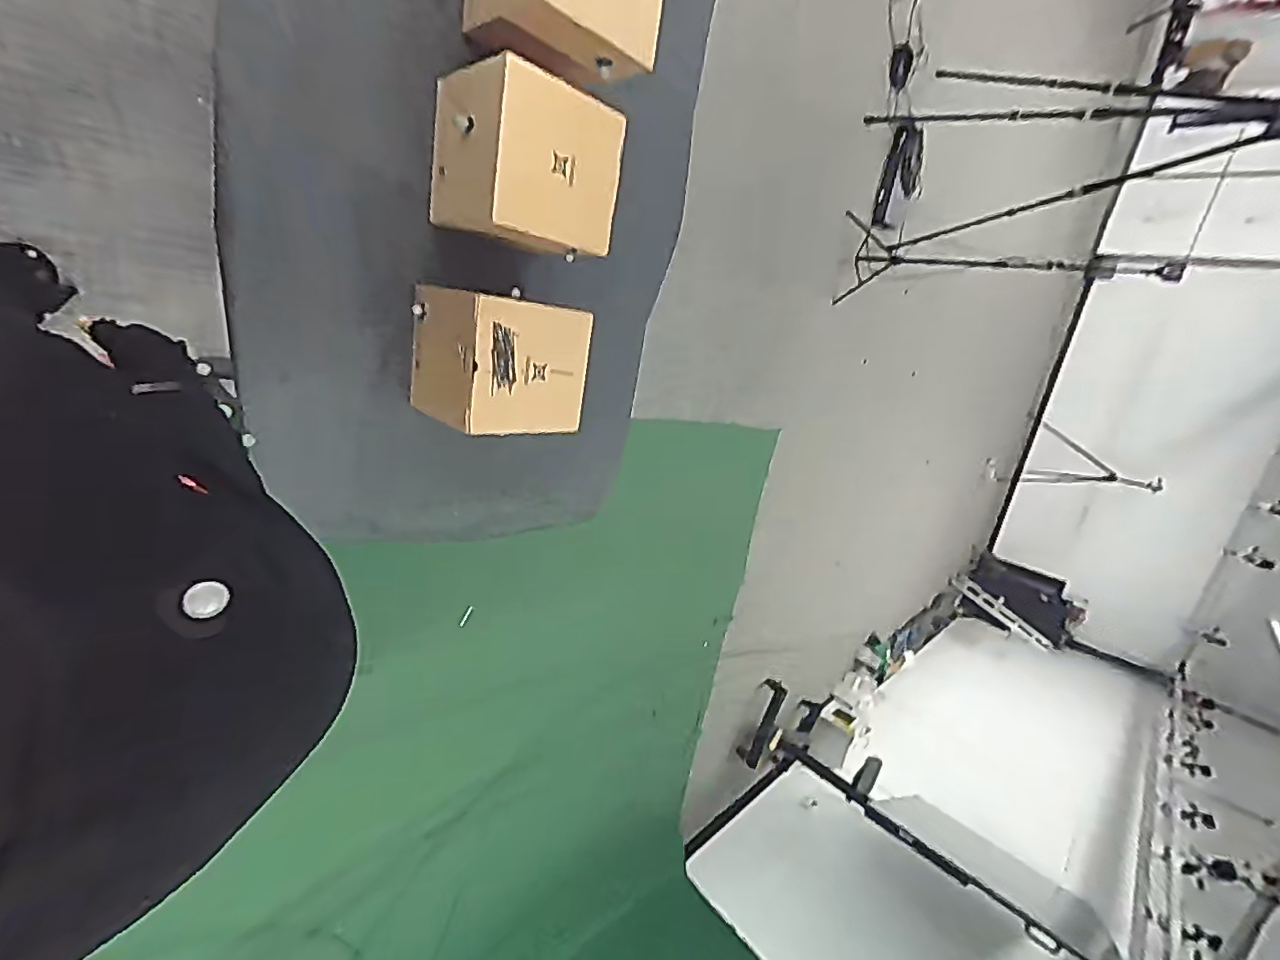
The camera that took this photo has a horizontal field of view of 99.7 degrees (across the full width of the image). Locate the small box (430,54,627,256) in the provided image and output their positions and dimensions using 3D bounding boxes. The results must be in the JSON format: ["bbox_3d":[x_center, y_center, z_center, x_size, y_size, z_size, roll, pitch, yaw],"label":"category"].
[{"bbox_3d":[-0.146,-0.391,0.686,0.179,0.176,0.168,-6,113,-46],"label":"small box"}]

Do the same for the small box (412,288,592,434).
[{"bbox_3d":[-0.195,-0.163,0.743,0.179,0.176,0.168,-7,114,-46],"label":"small box"}]

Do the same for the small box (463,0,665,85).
[{"bbox_3d":[-0.085,-0.603,0.644,0.179,0.176,0.168,-7,113,-45],"label":"small box"}]
